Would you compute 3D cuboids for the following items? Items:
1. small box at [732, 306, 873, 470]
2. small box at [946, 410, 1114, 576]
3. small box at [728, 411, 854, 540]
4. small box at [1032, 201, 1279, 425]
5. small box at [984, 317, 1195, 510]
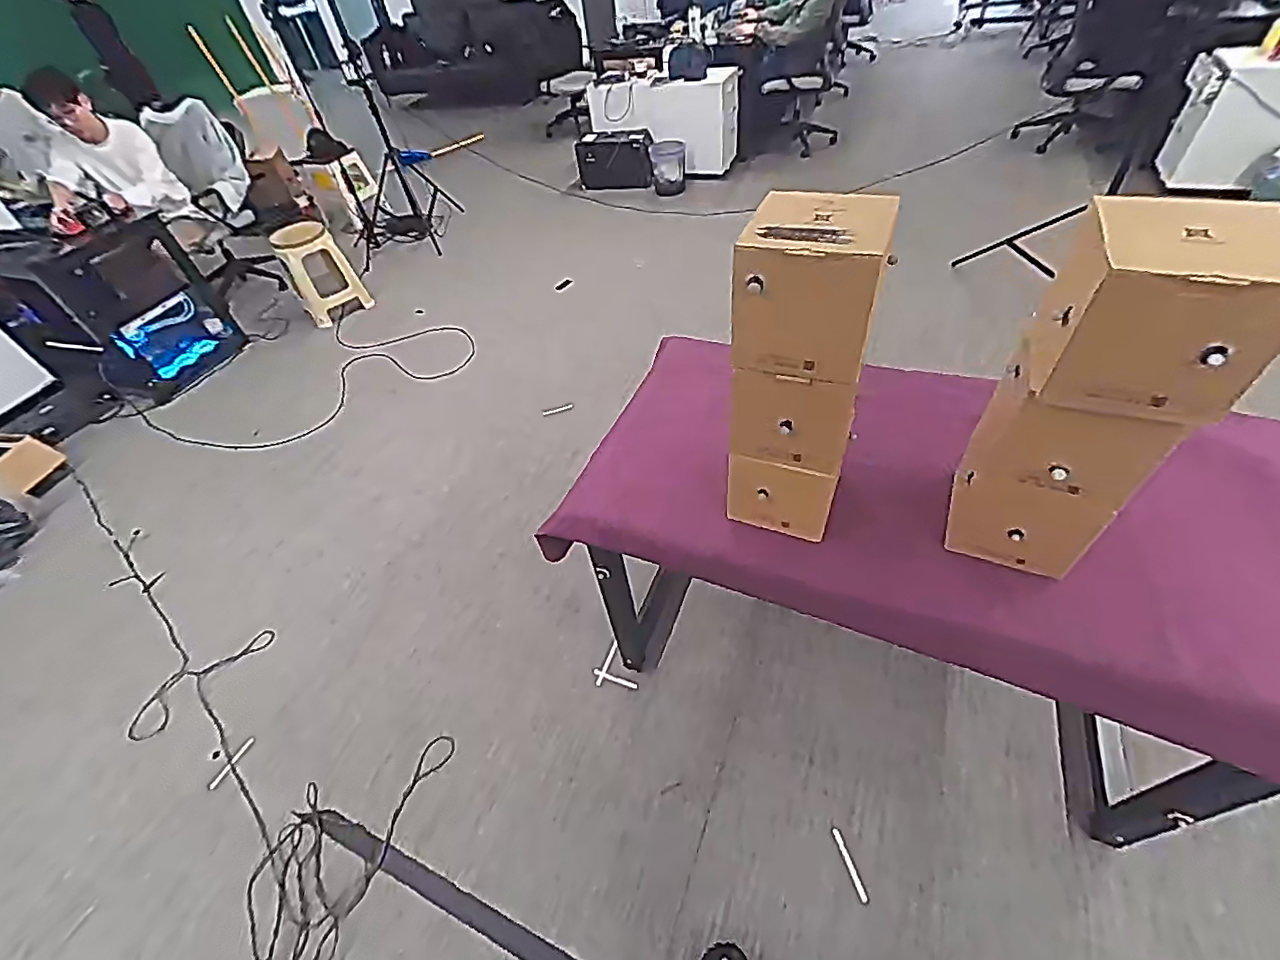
[{"bbox_3d":[0.243,-0.139,0.824,0.168,0.176,0.179,13,50,19],"label":"small box"},{"bbox_3d":[0.599,0.022,0.847,0.168,0.176,0.179,17,52,21],"label":"small box"},{"bbox_3d":[0.258,-0.023,0.938,0.168,0.176,0.179,15,50,20],"label":"small box"},{"bbox_3d":[0.562,-0.184,0.596,0.168,0.176,0.179,14,50,19],"label":"small box"},{"bbox_3d":[0.586,-0.091,0.728,0.168,0.176,0.179,16,52,22],"label":"small box"}]
